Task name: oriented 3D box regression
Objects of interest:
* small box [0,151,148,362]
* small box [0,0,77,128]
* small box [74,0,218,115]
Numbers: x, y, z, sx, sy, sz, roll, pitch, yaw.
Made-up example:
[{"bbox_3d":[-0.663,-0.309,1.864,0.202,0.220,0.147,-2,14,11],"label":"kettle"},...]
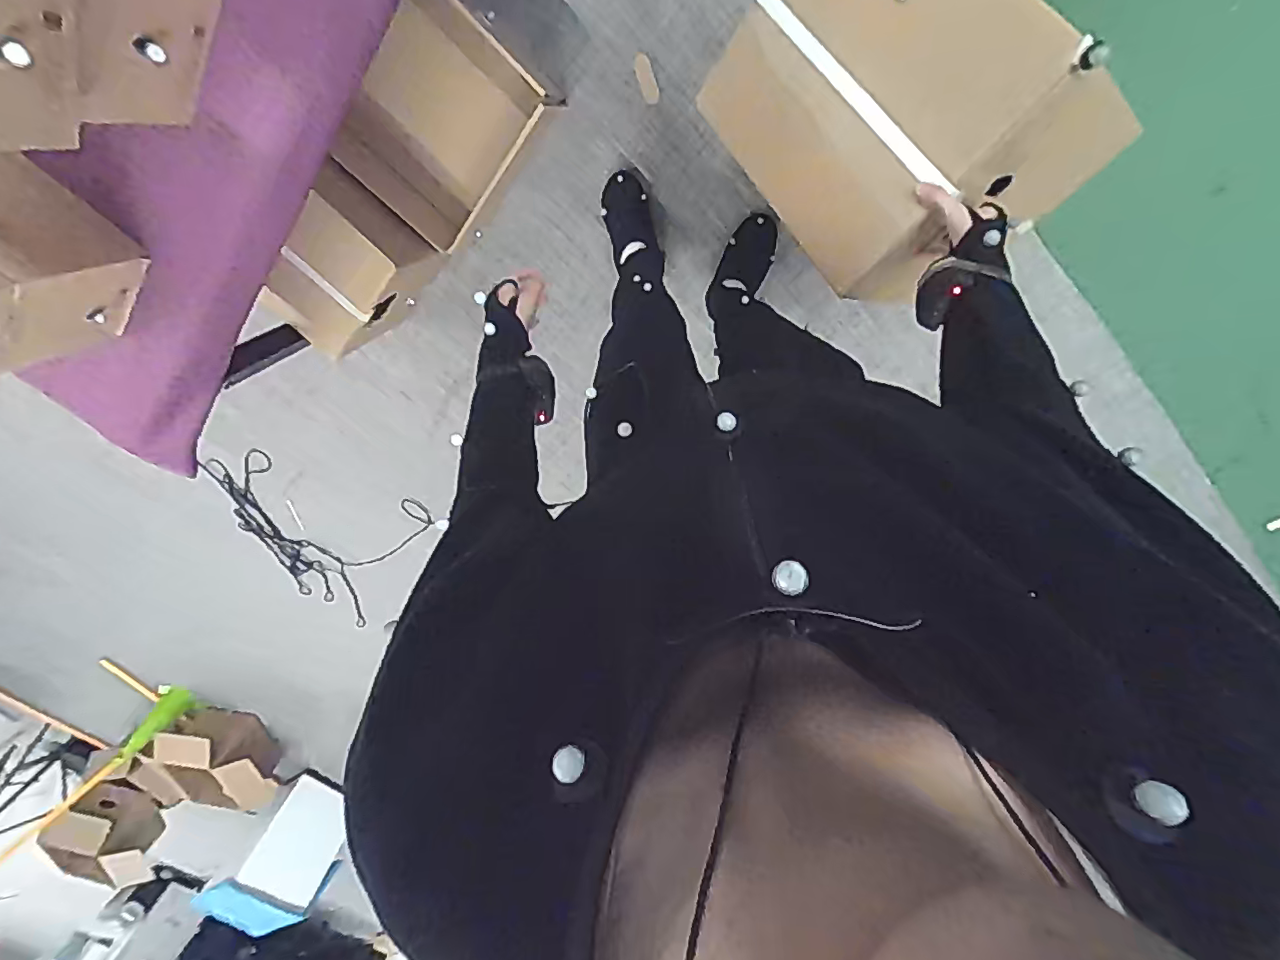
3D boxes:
[{"bbox_3d":[-0.779,-0.276,0.662,0.168,0.176,0.179,-37,110,28],"label":"small box"},{"bbox_3d":[-0.548,-0.365,0.363,0.179,0.176,0.168,33,123,-11],"label":"small box"},{"bbox_3d":[-0.536,-0.472,0.491,0.179,0.176,0.168,38,121,-14],"label":"small box"}]
